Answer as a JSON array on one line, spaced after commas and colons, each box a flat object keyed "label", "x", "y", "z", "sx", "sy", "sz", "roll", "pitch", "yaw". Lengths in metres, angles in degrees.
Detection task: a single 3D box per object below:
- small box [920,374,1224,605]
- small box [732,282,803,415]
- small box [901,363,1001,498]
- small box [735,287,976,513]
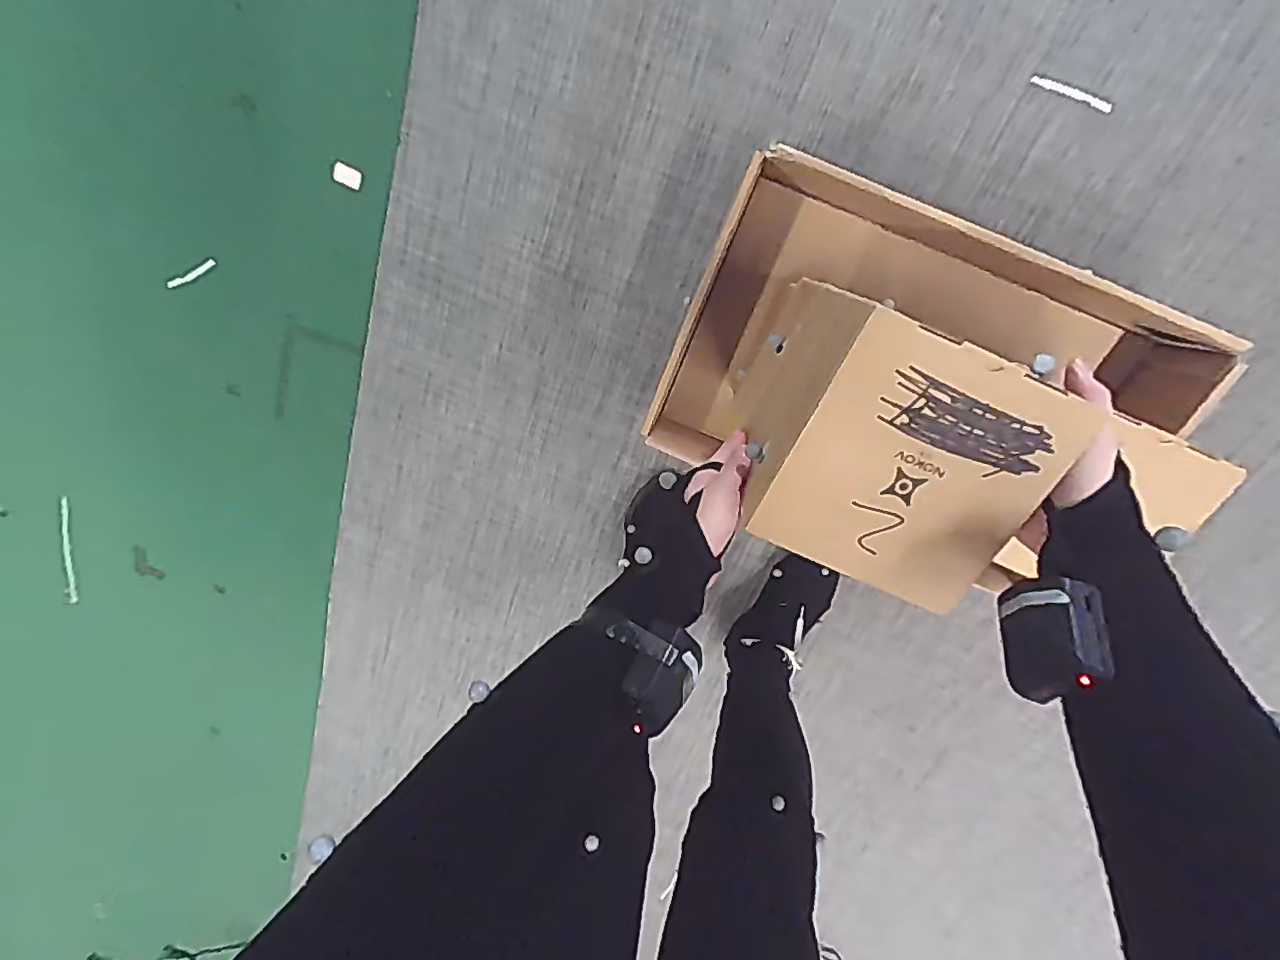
[{"label": "small box", "x": 0.451, "y": -0.002, "z": 0.608, "sx": 0.168, "sy": 0.176, "sz": 0.179, "roll": 25, "pitch": 114, "yaw": 0}, {"label": "small box", "x": 0.237, "y": -0.160, "z": 0.754, "sx": 0.168, "sy": 0.176, "sz": 0.179, "roll": 21, "pitch": 114, "yaw": -3}, {"label": "small box", "x": 0.477, "y": -0.058, "z": 0.760, "sx": 0.168, "sy": 0.176, "sz": 0.179, "roll": 22, "pitch": 114, "yaw": 0}, {"label": "small box", "x": 0.214, "y": -0.100, "z": 0.602, "sx": 0.168, "sy": 0.176, "sz": 0.179, "roll": 26, "pitch": 113, "yaw": -3}]
